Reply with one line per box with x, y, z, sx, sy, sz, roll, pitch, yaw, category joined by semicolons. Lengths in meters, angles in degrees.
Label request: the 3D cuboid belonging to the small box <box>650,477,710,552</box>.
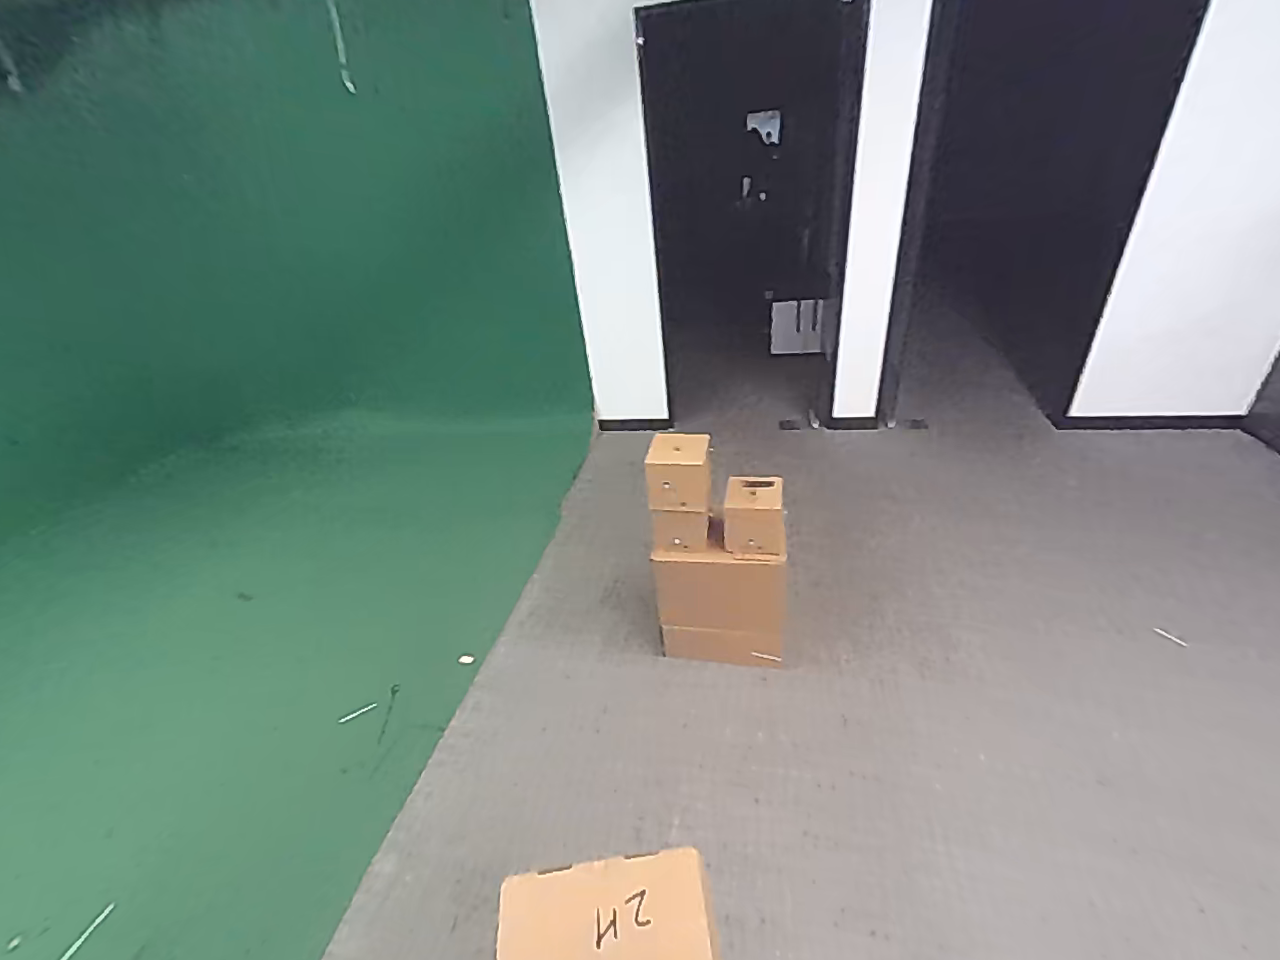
0.131;0.102;1.705;0.168;0.176;0.179;3;35;13;small box

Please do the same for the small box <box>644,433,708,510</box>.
0.113;-0.027;1.607;0.168;0.176;0.179;2;34;12;small box

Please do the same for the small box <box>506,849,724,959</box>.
-0.010;0.438;0.458;0.168;0.176;0.179;-9;46;3;small box
